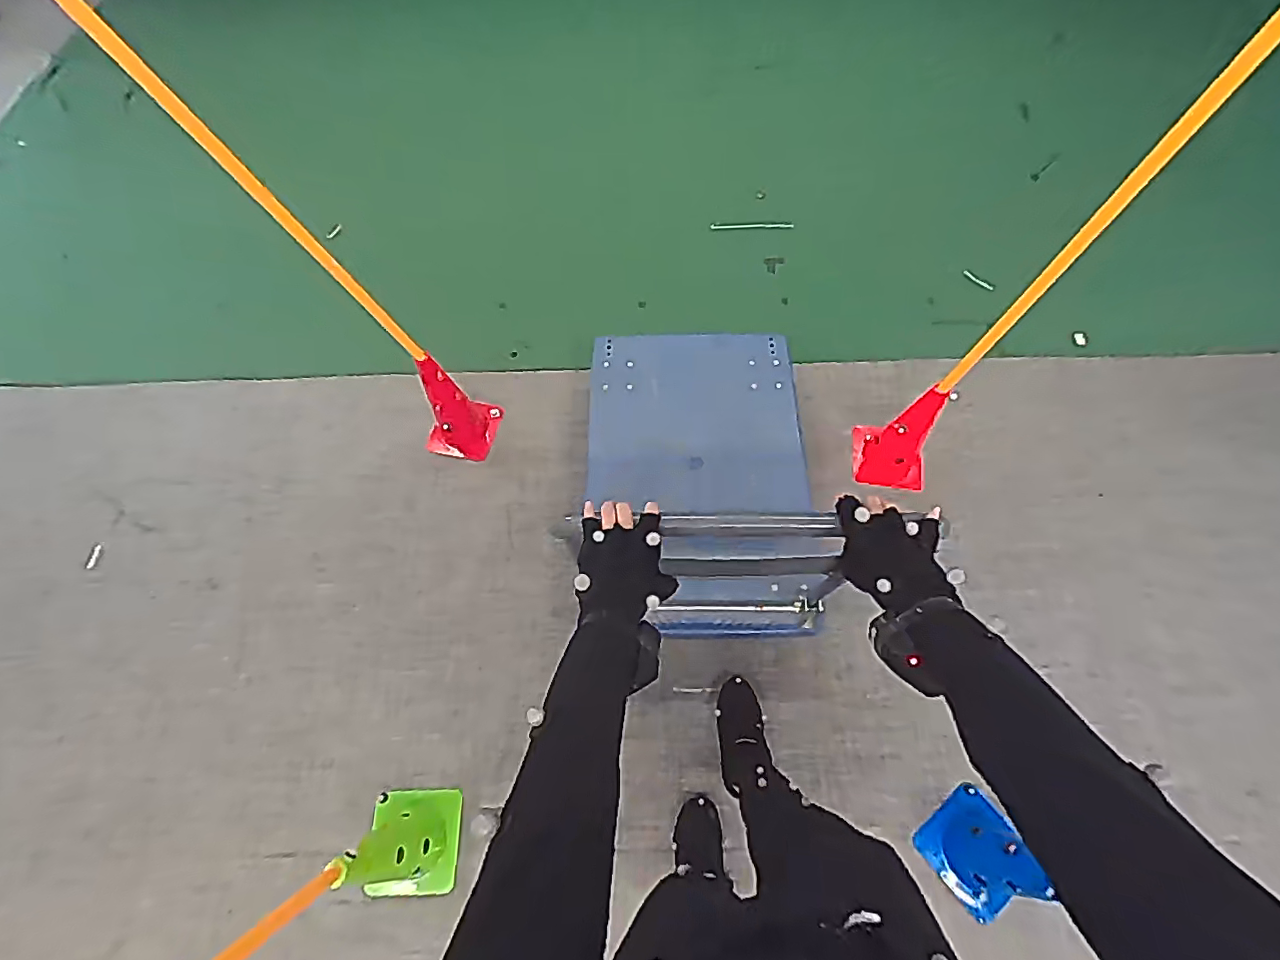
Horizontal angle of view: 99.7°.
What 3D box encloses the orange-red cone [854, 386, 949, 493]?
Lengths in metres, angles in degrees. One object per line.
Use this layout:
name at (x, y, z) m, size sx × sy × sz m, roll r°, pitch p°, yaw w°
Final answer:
orange-red cone at (0.734, -0.134, 1.459) m, size 0.198 × 0.360 × 0.199 m, roll 8°, pitch 65°, yaw 6°
